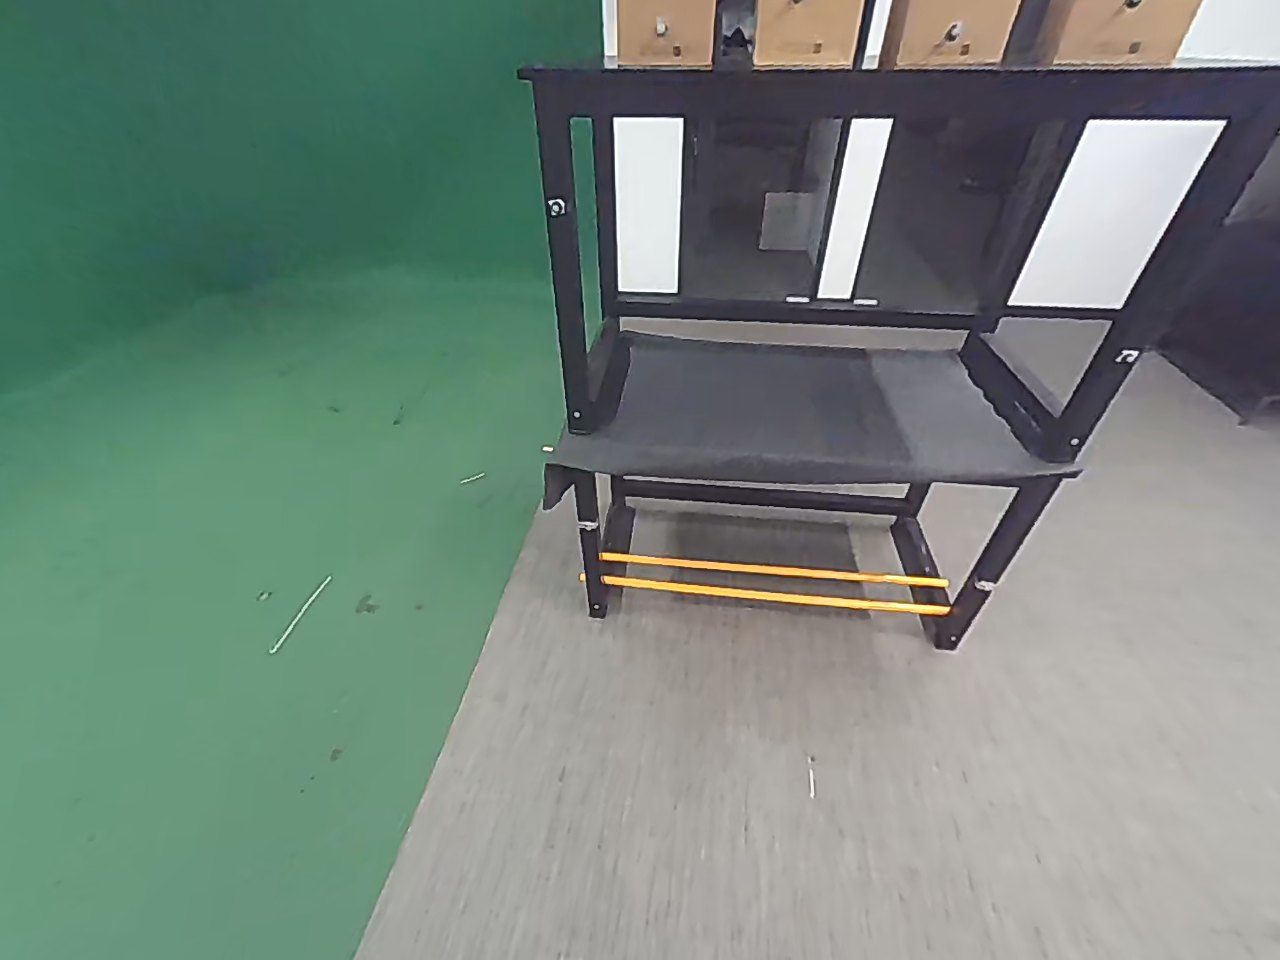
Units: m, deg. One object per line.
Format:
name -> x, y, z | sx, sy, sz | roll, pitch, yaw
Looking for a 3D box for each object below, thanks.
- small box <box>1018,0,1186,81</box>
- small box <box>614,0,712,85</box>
small box -> 0.759, -0.760, 0.886 | 0.168, 0.176, 0.179 | 11, 40, 14
small box -> 0.044, -0.824, 0.972 | 0.168, 0.176, 0.179 | 3, 40, 4
